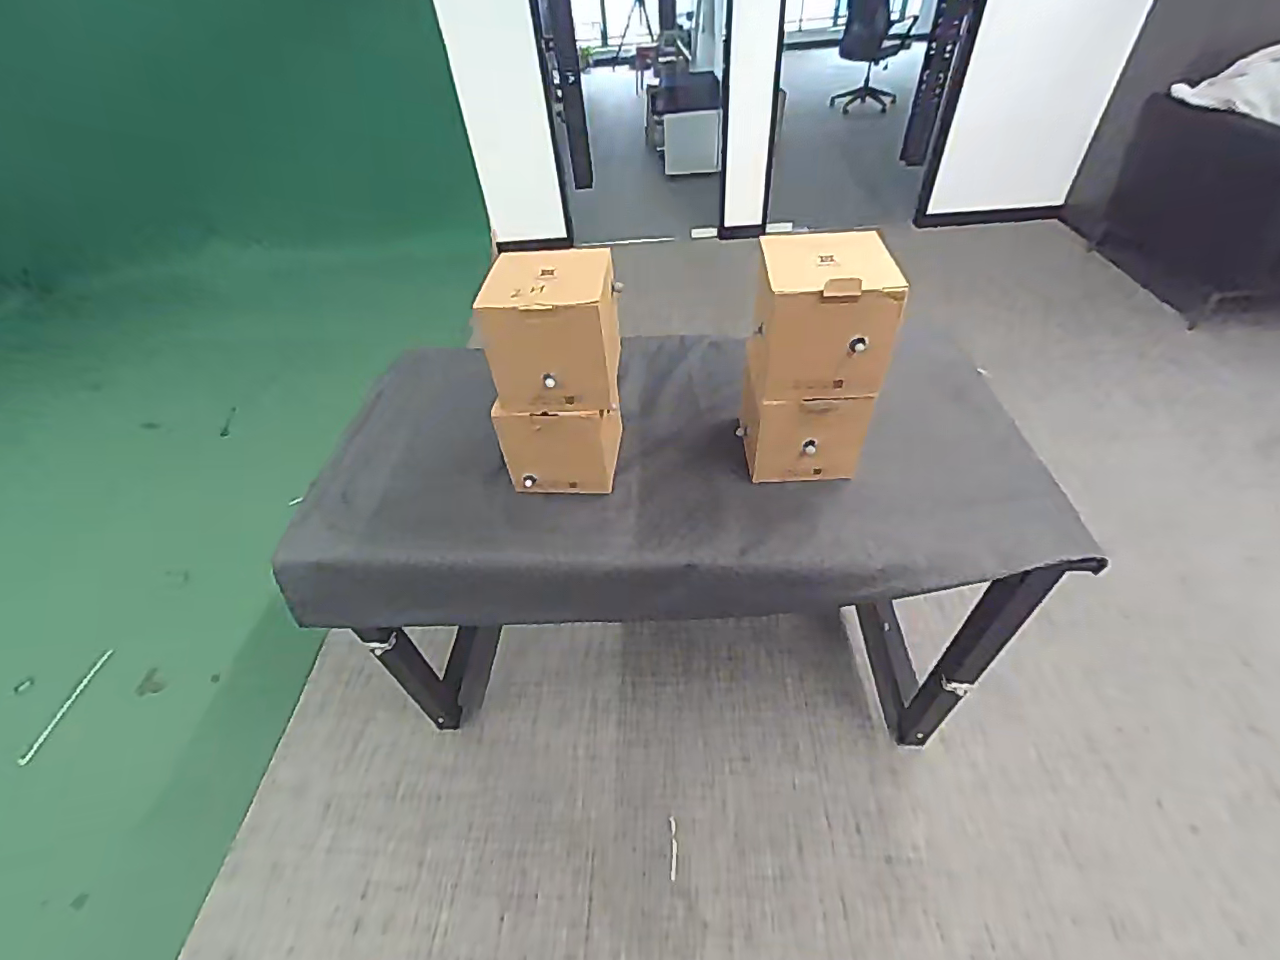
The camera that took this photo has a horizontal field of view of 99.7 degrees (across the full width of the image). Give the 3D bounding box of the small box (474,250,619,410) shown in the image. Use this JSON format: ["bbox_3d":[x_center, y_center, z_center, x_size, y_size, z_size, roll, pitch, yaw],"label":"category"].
[{"bbox_3d":[-0.123,-0.221,0.801,0.168,0.176,0.179,-1,45,5],"label":"small box"}]

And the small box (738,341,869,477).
[{"bbox_3d":[0.257,-0.116,0.894,0.168,0.176,0.179,-3,45,3],"label":"small box"}]

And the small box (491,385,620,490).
[{"bbox_3d":[-0.129,-0.098,0.912,0.168,0.176,0.179,2,44,6],"label":"small box"}]

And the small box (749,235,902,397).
[{"bbox_3d":[0.250,-0.232,0.779,0.168,0.176,0.179,0,44,5],"label":"small box"}]
